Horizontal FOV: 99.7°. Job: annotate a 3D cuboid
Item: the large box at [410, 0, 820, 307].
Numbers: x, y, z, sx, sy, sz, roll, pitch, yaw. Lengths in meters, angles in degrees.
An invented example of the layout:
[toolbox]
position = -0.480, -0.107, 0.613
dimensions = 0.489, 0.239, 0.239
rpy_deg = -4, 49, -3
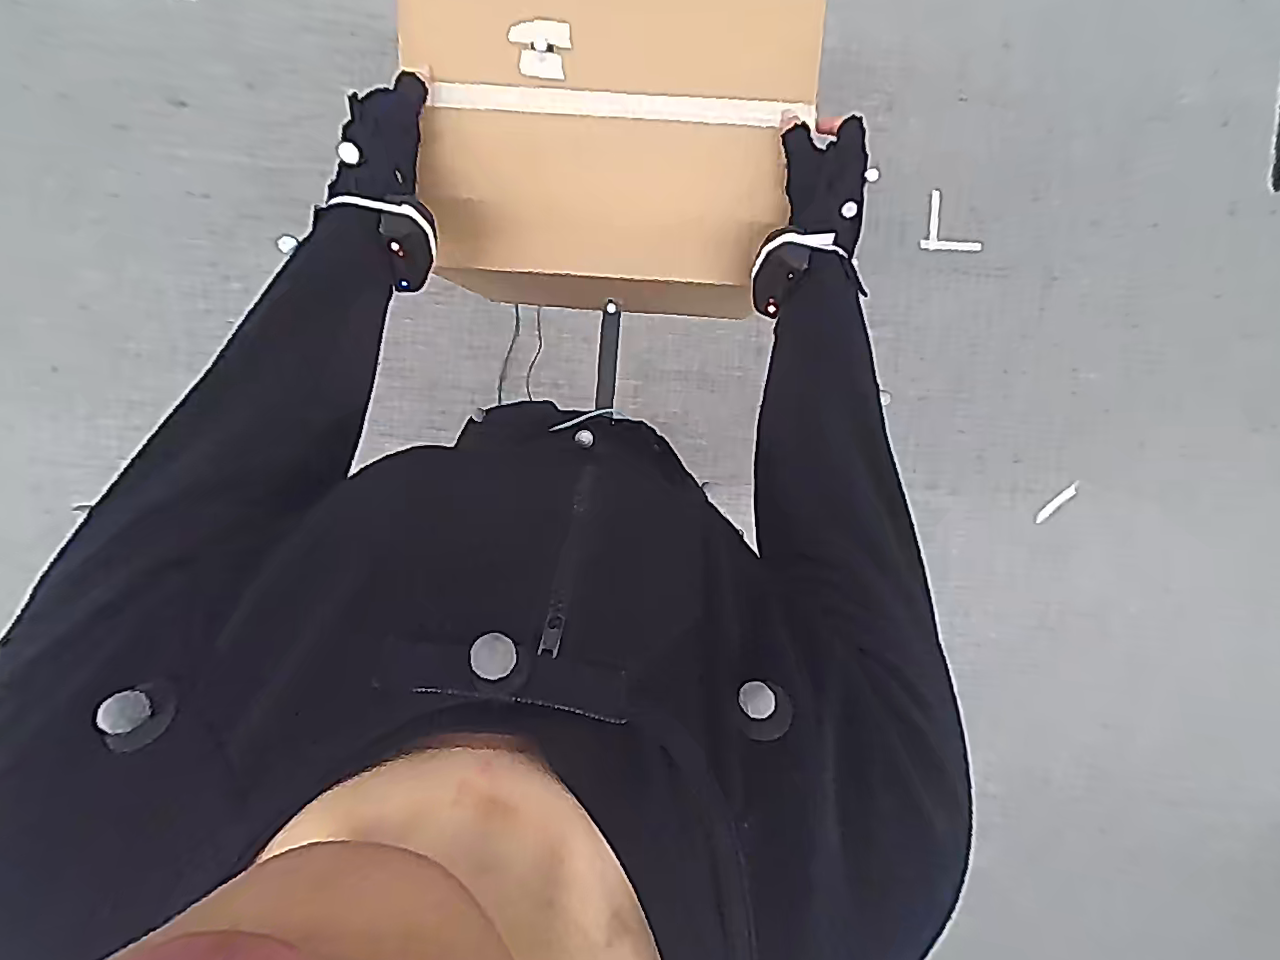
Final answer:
[large box]
position = -0.025, -0.399, 0.683
dimensions = 0.408, 0.320, 0.320
rpy_deg = 4, 101, 0
